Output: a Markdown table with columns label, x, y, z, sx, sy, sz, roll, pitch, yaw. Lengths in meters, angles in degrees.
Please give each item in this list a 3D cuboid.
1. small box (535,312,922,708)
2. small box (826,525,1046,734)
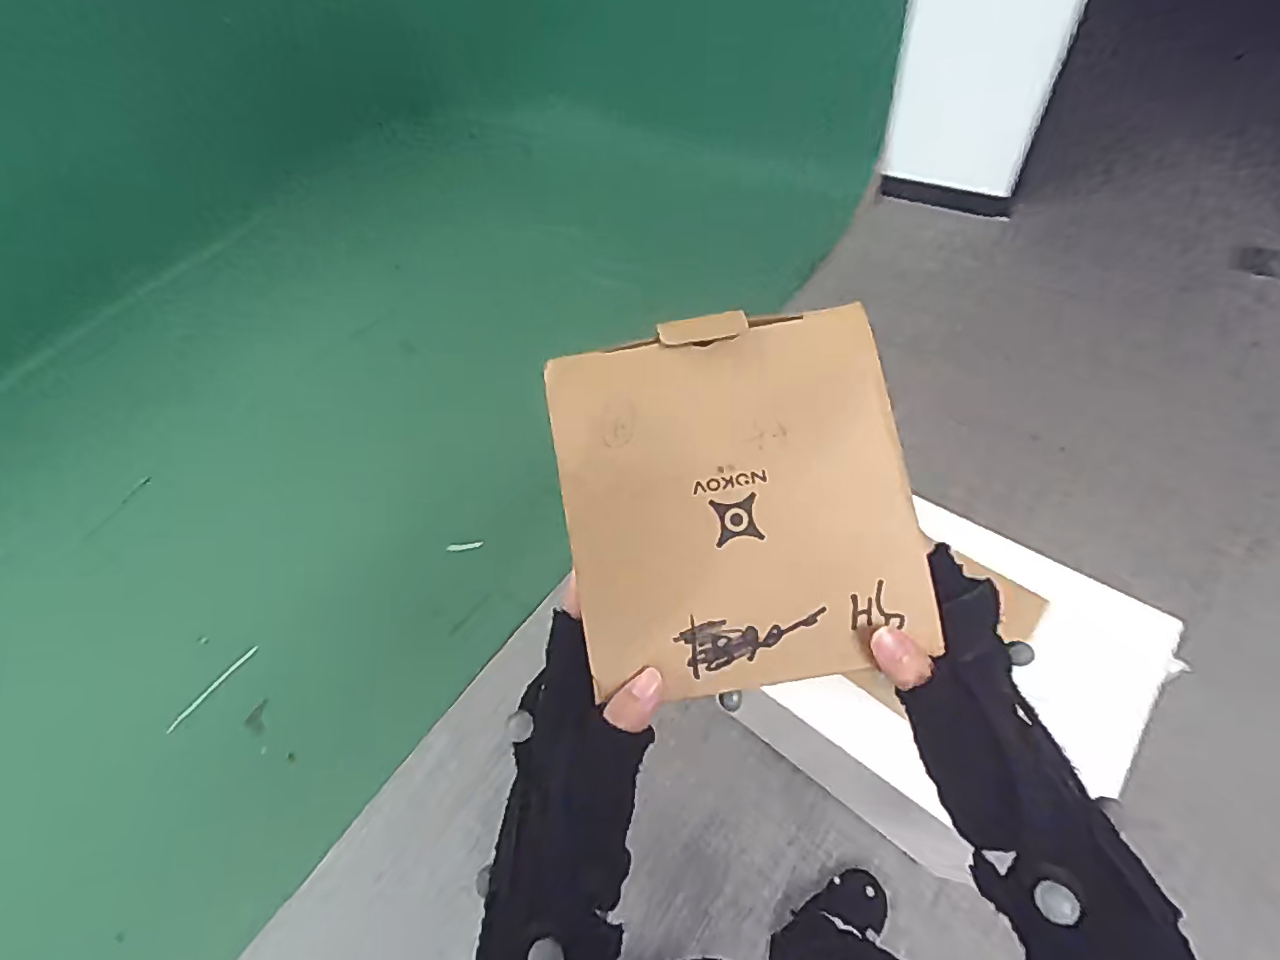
| label | x | y | z | sx | sy | sz | roll | pitch | yaw |
| --- | --- | --- | --- | --- | --- | --- | --- | --- | --- |
| small box | 0.042 | 0.021 | 0.353 | 0.168 | 0.176 | 0.179 | -14 | 83 | 0 |
| small box | 0.355 | 0.195 | 0.687 | 0.179 | 0.176 | 0.168 | 33 | 70 | 28 |
